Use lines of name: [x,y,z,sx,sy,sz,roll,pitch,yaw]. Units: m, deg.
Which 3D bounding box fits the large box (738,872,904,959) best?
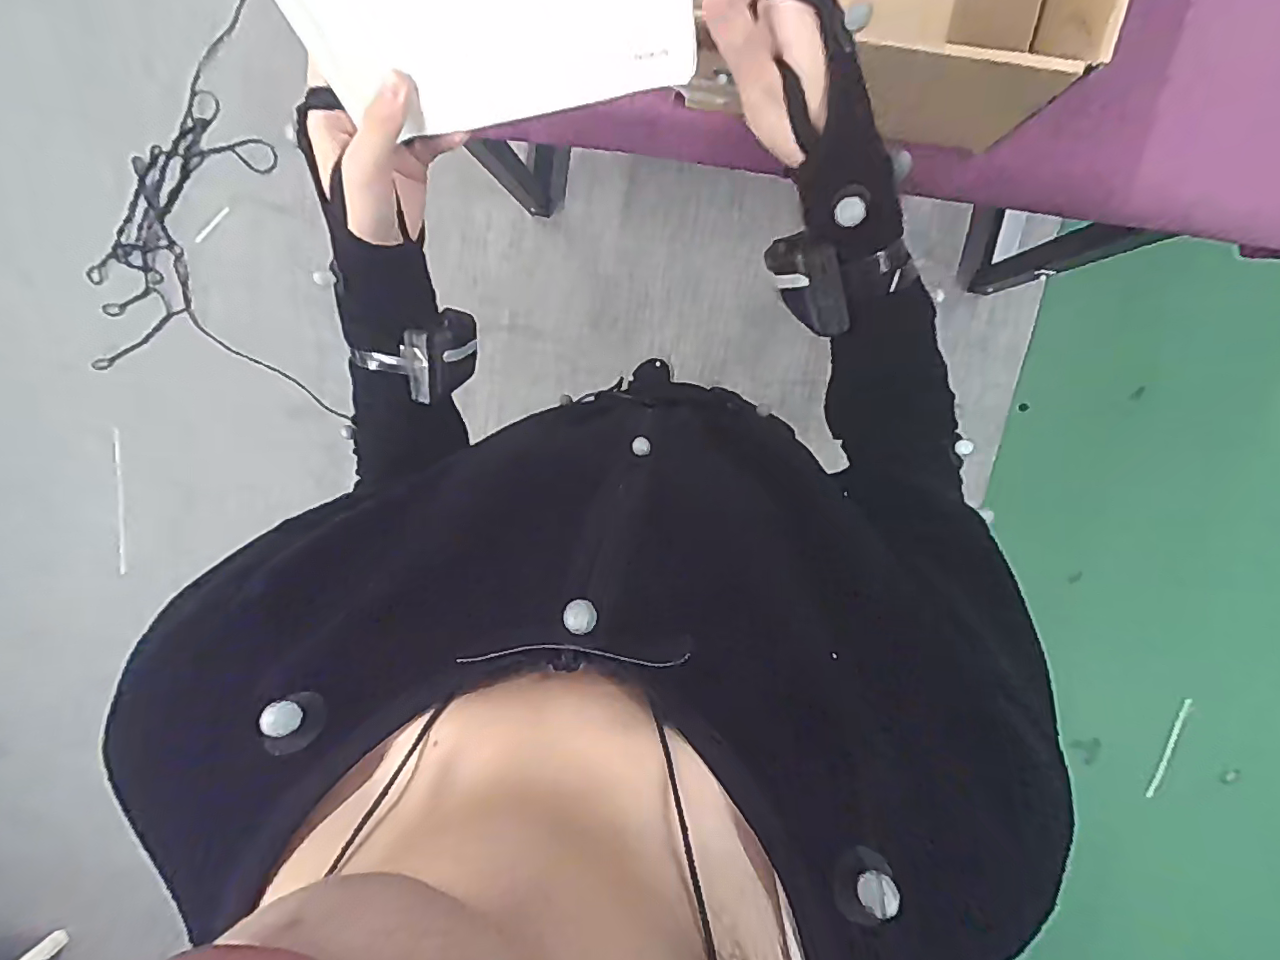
large box: [0.508,1.390,1.549,0.408,0.320,0.320,-4,100,4]
